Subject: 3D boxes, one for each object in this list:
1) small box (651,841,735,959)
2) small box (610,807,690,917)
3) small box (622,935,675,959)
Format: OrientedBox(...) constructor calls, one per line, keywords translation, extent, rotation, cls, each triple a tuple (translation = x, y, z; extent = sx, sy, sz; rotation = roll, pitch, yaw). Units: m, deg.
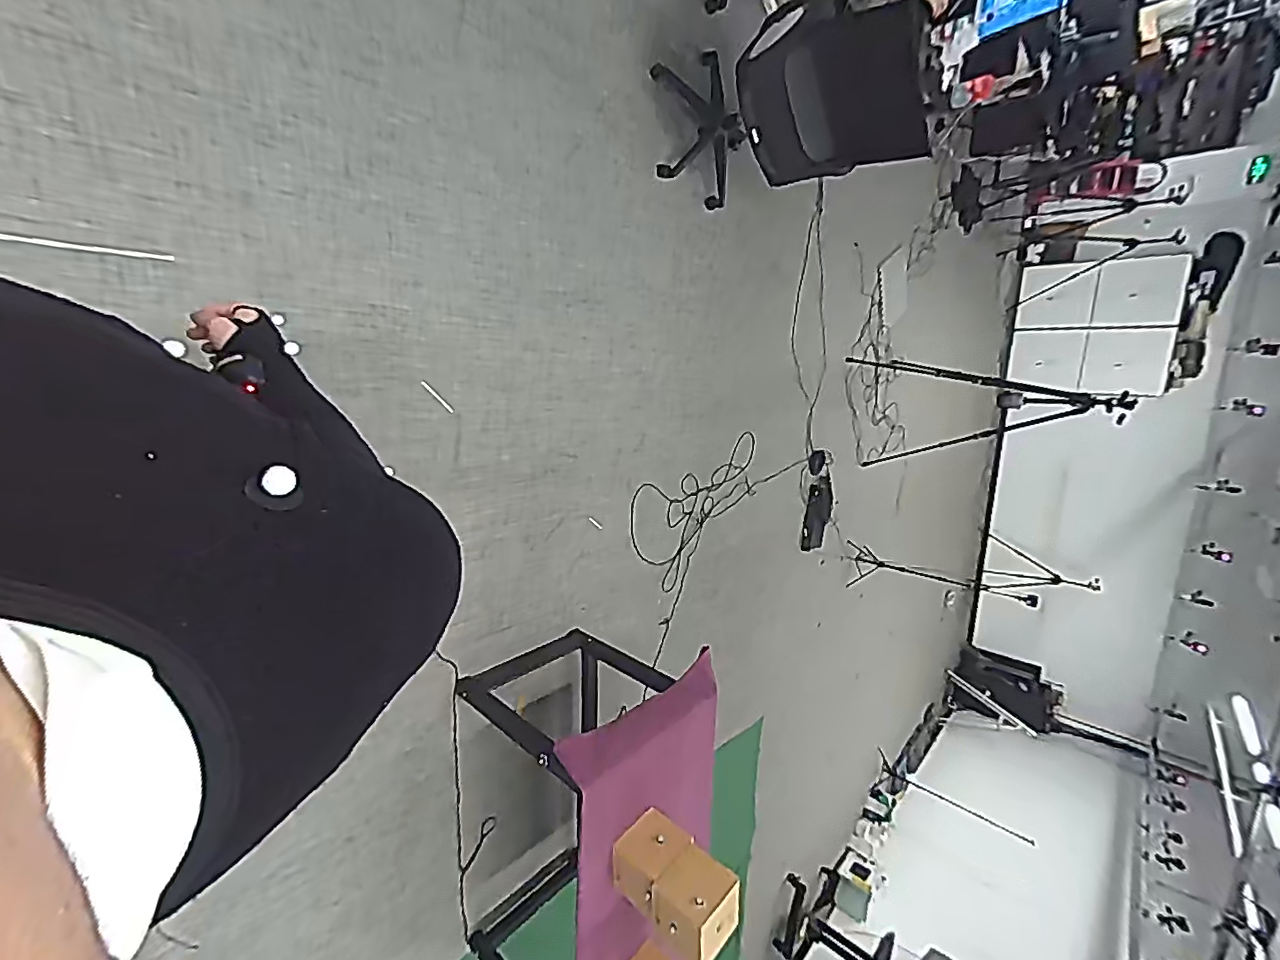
OrientedBox(translation=(0.142, 1.150, 1.479), extent=(0.179, 0.176, 0.168), rotation=(-17, 112, -45), cls="small box")
OrientedBox(translation=(0.031, 1.121, 1.600), extent=(0.179, 0.176, 0.168), rotation=(-19, 112, -45), cls="small box")
OrientedBox(translation=(0.018, 1.608, 1.700), extent=(0.179, 0.176, 0.168), rotation=(-14, 109, -48), cls="small box")
